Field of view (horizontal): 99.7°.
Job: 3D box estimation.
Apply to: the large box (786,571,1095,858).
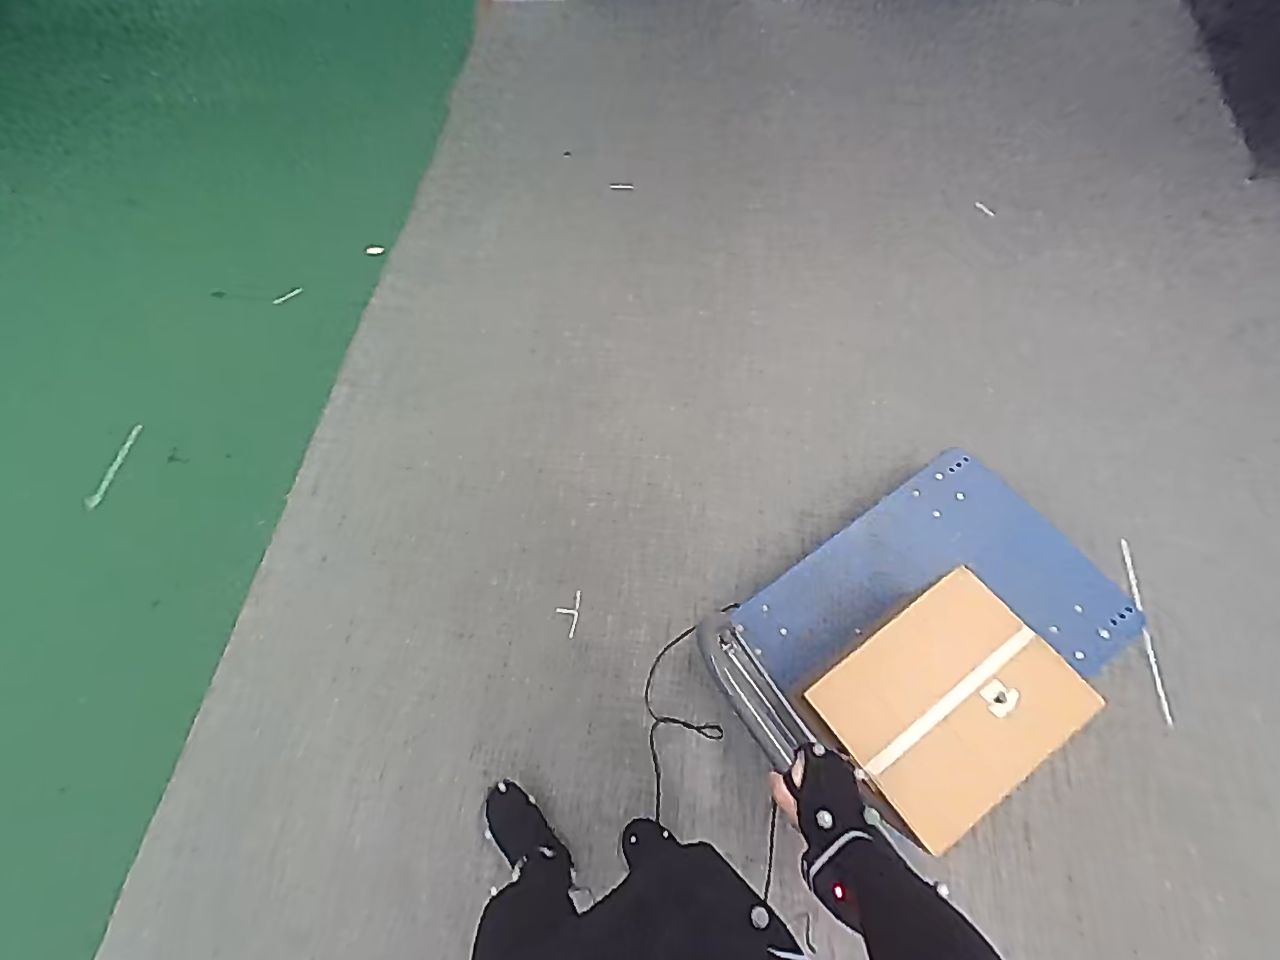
[{"bbox_3d":[0.566,0.458,1.104,0.408,0.320,0.320,-35,68,-9],"label":"large box"}]
